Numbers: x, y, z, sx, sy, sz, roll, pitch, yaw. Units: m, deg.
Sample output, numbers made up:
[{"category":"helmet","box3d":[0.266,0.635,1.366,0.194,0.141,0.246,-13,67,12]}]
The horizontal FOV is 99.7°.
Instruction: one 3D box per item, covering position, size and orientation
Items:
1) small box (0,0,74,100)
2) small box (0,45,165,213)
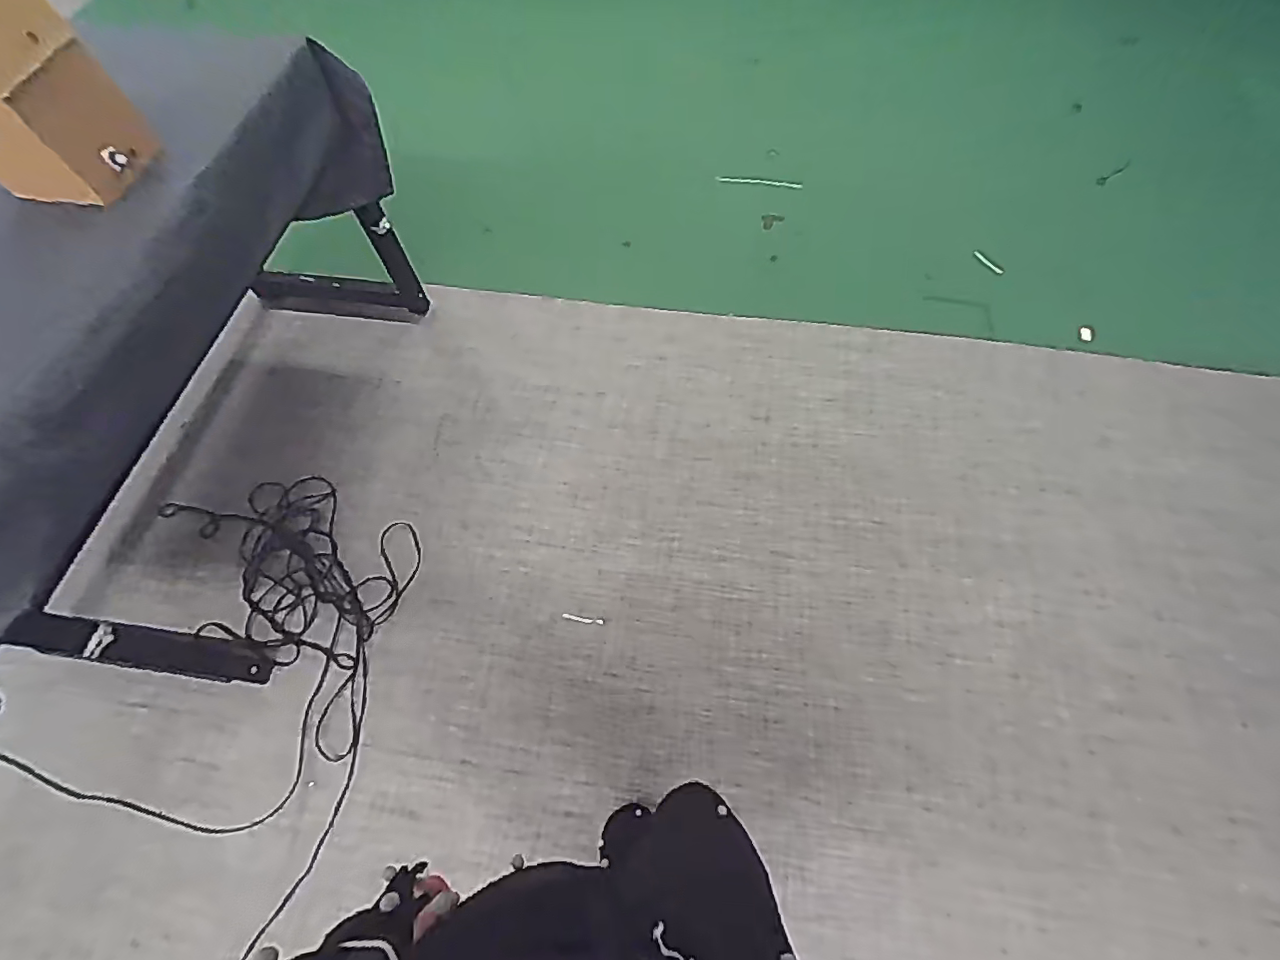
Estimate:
[{"category":"small box","box3d":[-0.920,-0.615,0.698,0.179,0.176,0.168,6,64,6]},{"category":"small box","box3d":[-0.923,-0.547,0.845,0.179,0.176,0.168,8,65,5]}]
